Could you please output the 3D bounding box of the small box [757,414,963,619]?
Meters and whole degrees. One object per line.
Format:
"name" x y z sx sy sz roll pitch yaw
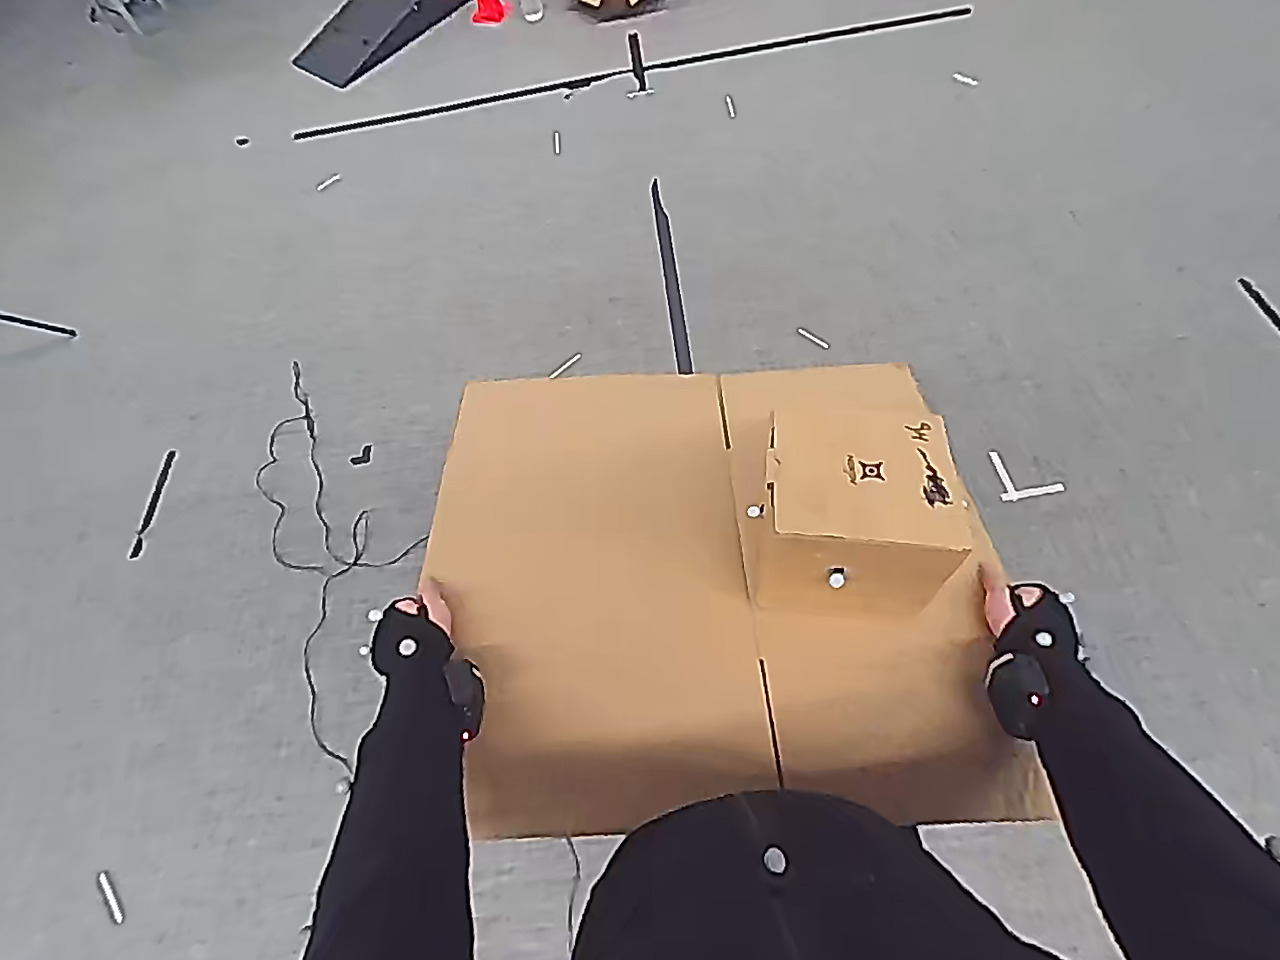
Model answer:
"small box" 0.226 0.044 0.608 0.179 0.176 0.168 3 54 9
